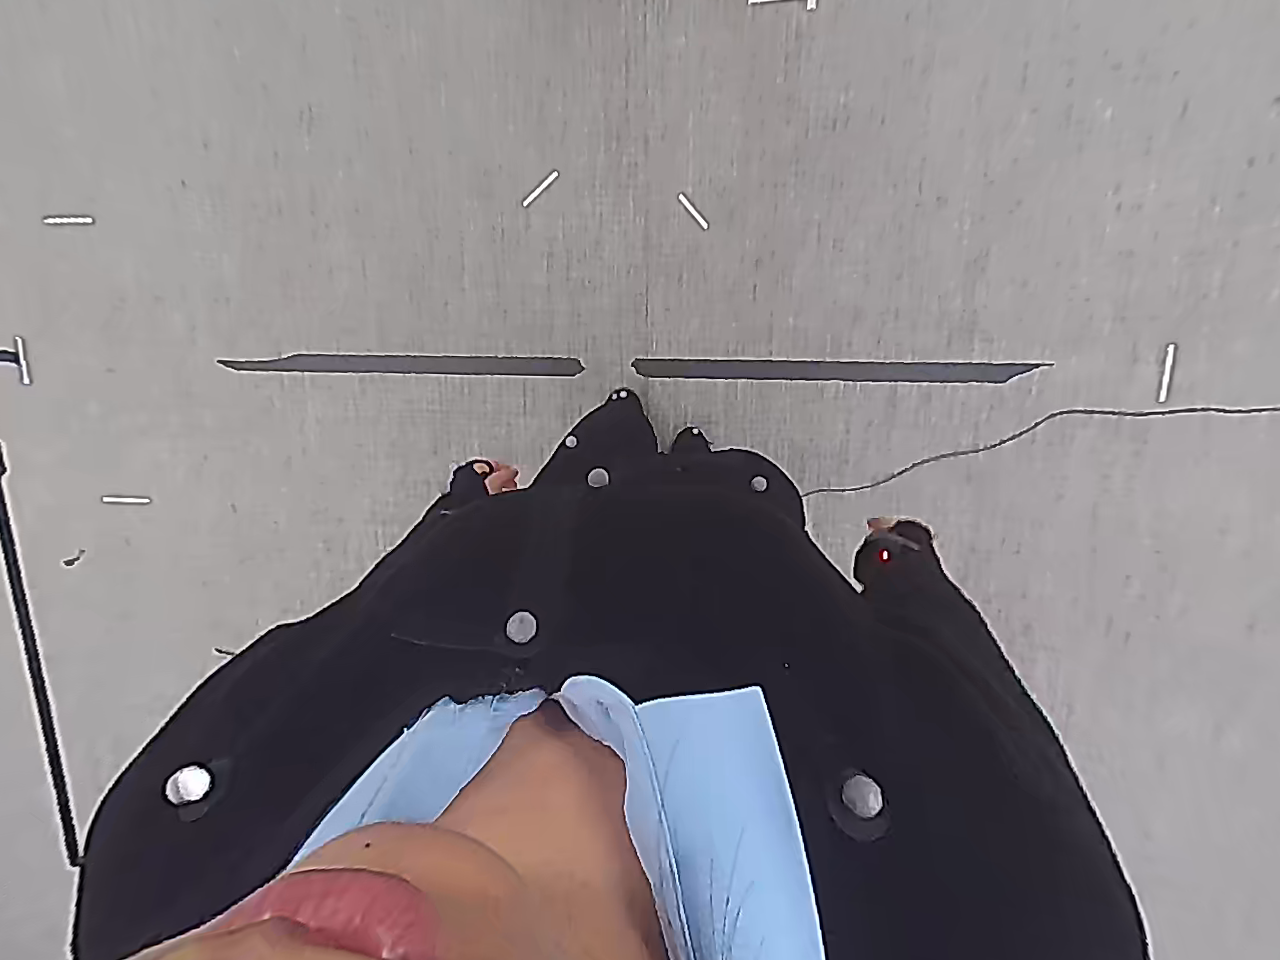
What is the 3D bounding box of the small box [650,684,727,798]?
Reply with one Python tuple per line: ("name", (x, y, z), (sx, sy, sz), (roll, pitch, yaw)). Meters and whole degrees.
("small box", (0.115, 0.619, 1.297), (0.168, 0.176, 0.179), (3, 99, 4))
